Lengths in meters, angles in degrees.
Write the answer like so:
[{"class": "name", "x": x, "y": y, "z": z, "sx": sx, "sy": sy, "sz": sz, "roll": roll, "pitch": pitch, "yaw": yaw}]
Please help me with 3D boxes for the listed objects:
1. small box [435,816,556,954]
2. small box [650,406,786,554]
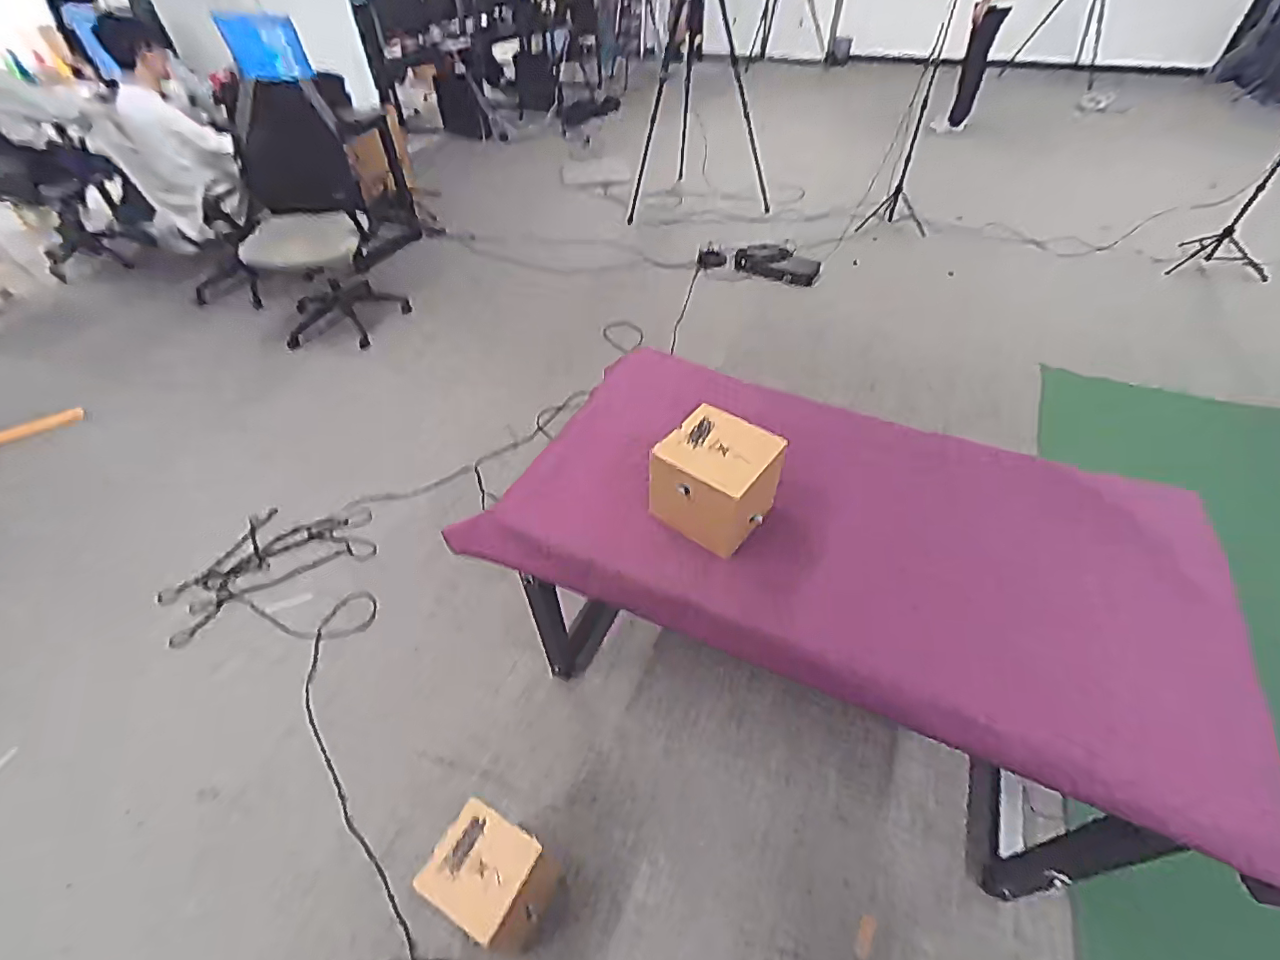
[{"class": "small box", "x": -0.296, "y": 0.869, "z": 1.158, "sx": 0.168, "sy": 0.176, "sz": 0.179, "roll": 22, "pitch": 51, "yaw": 20}, {"class": "small box", "x": 0.133, "y": 0.001, "z": 0.971, "sx": 0.179, "sy": 0.176, "sz": 0.168, "roll": 30, "pitch": 54, "yaw": 25}]
